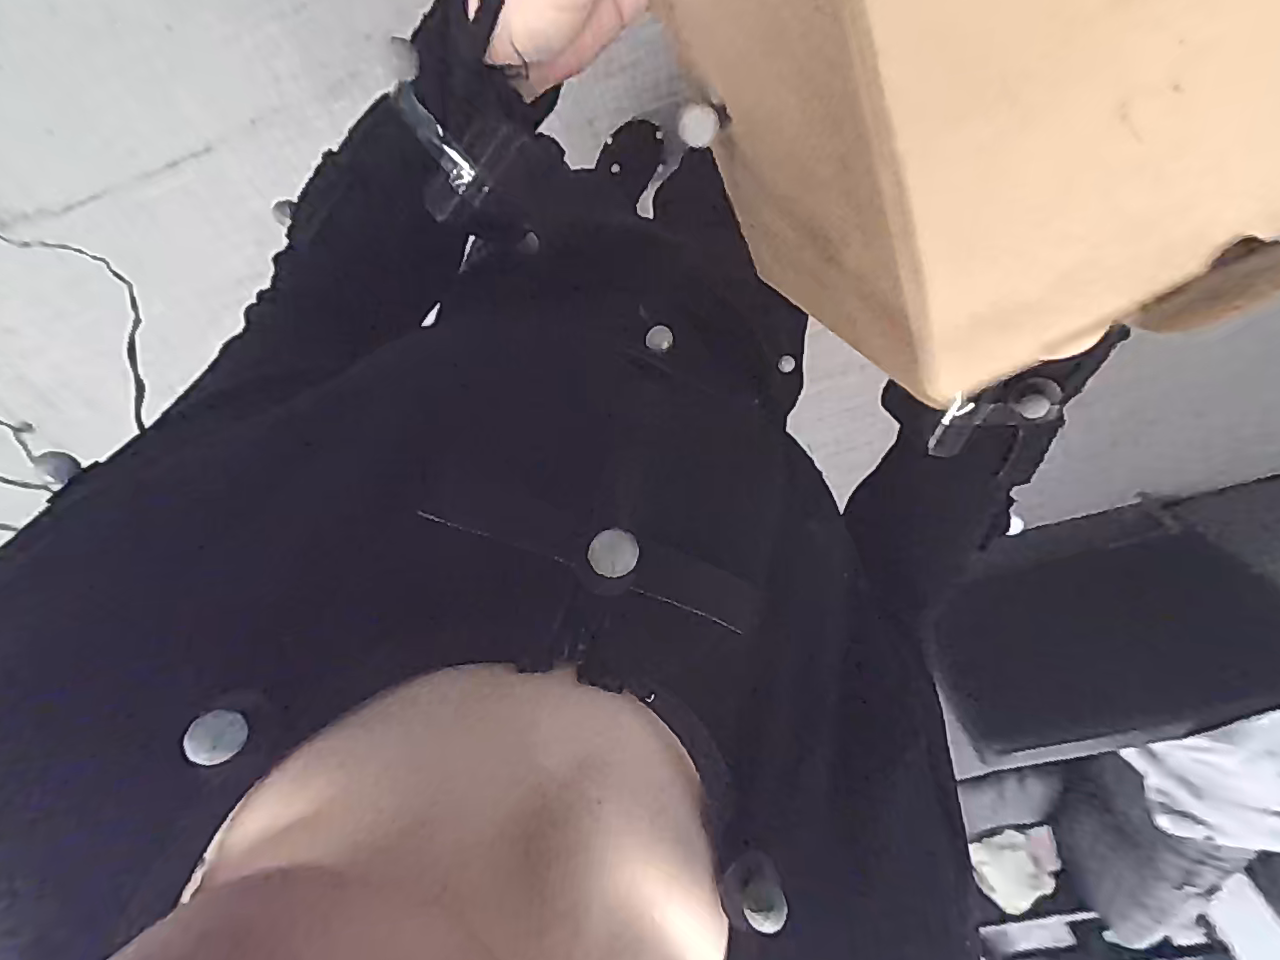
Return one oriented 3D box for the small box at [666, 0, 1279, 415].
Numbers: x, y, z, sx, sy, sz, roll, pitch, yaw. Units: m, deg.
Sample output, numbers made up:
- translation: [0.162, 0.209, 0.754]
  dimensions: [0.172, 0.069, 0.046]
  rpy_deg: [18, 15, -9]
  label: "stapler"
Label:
- translation: [0.115, -0.159, 0.177]
  dimensions: [0.168, 0.176, 0.179]
  rpy_deg: [-27, 124, 9]
  label: "small box"
